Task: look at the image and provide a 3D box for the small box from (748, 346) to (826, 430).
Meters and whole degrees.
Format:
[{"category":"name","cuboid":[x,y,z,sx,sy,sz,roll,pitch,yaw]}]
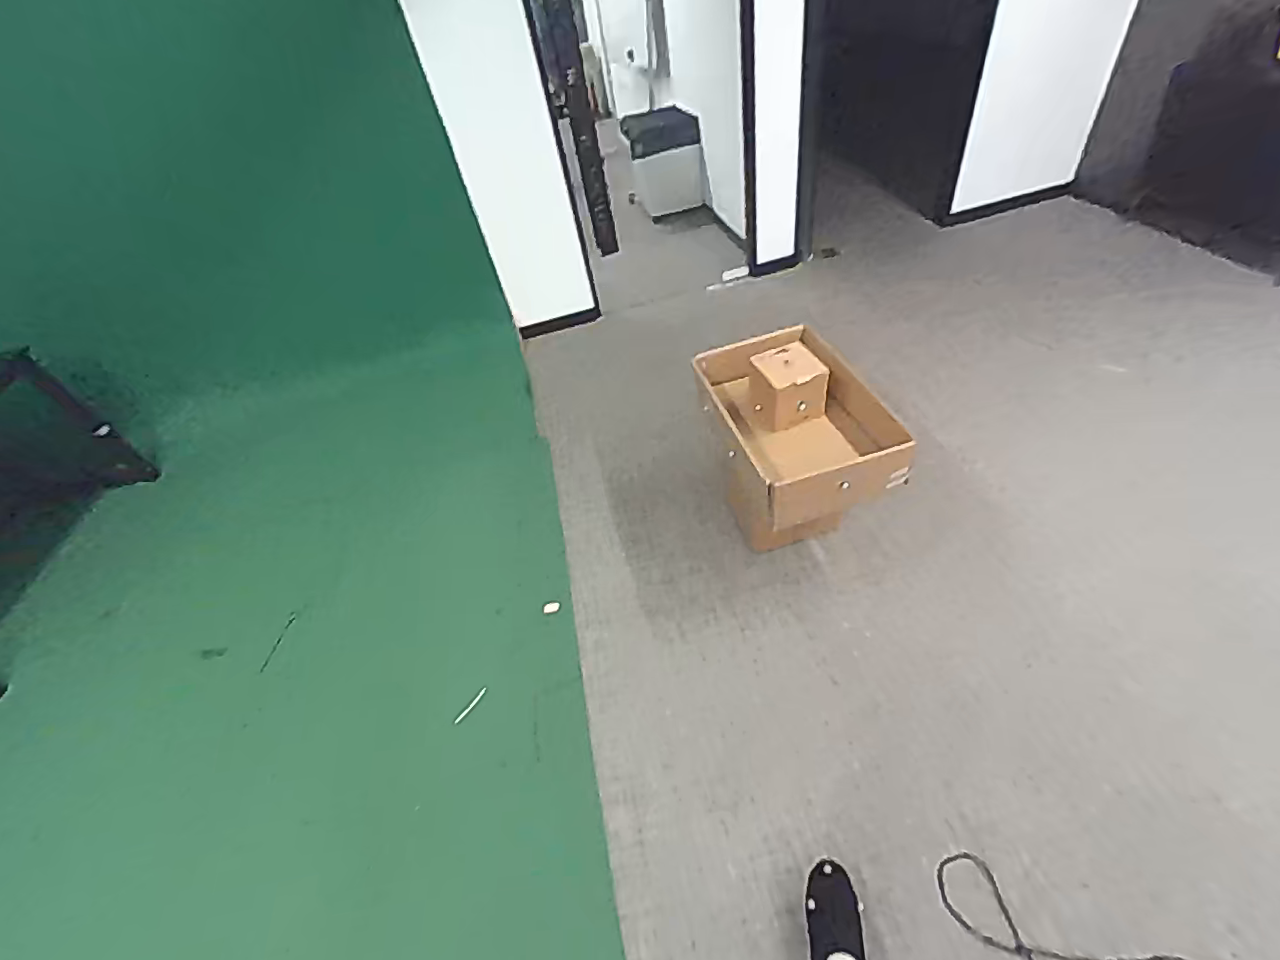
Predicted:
[{"category":"small box","cuboid":[0.437,-0.270,1.628,0.168,0.176,0.179,-18,47,-7]}]
